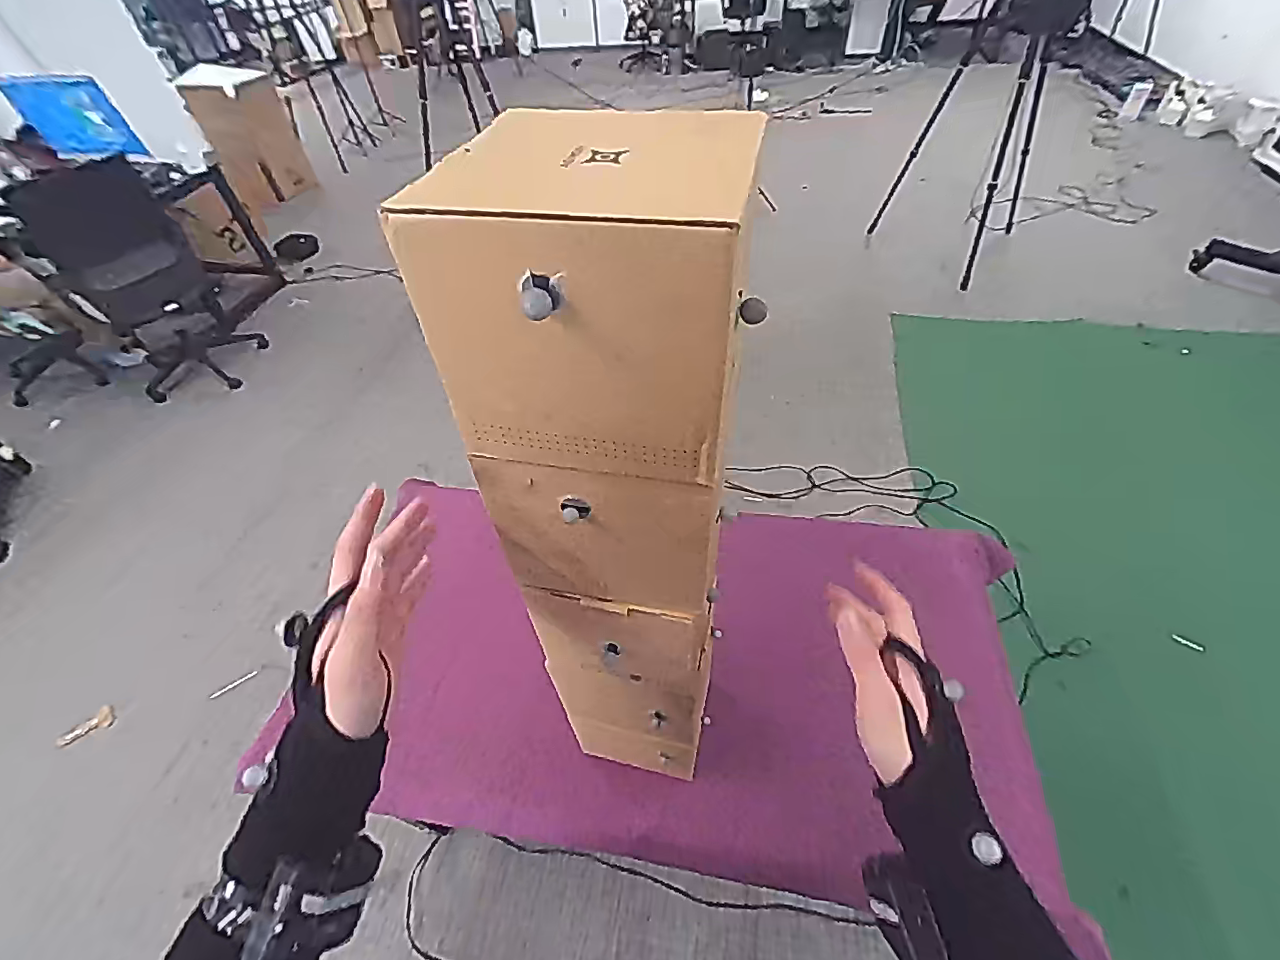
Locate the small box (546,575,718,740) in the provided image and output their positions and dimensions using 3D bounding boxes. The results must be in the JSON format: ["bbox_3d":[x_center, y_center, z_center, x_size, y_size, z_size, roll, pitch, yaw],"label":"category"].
[{"bbox_3d":[0.000,0.220,0.710,0.179,0.176,0.168,8,48,13],"label":"small box"}]

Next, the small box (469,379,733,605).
[{"bbox_3d":[-0.018,-0.010,0.477,0.179,0.176,0.168,8,48,10],"label":"small box"}]

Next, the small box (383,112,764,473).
[{"bbox_3d":[-0.021,-0.121,0.359,0.179,0.176,0.168,7,48,12],"label":"small box"}]

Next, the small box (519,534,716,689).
[{"bbox_3d":[-0.008,0.105,0.595,0.168,0.176,0.179,9,49,12],"label":"small box"}]
